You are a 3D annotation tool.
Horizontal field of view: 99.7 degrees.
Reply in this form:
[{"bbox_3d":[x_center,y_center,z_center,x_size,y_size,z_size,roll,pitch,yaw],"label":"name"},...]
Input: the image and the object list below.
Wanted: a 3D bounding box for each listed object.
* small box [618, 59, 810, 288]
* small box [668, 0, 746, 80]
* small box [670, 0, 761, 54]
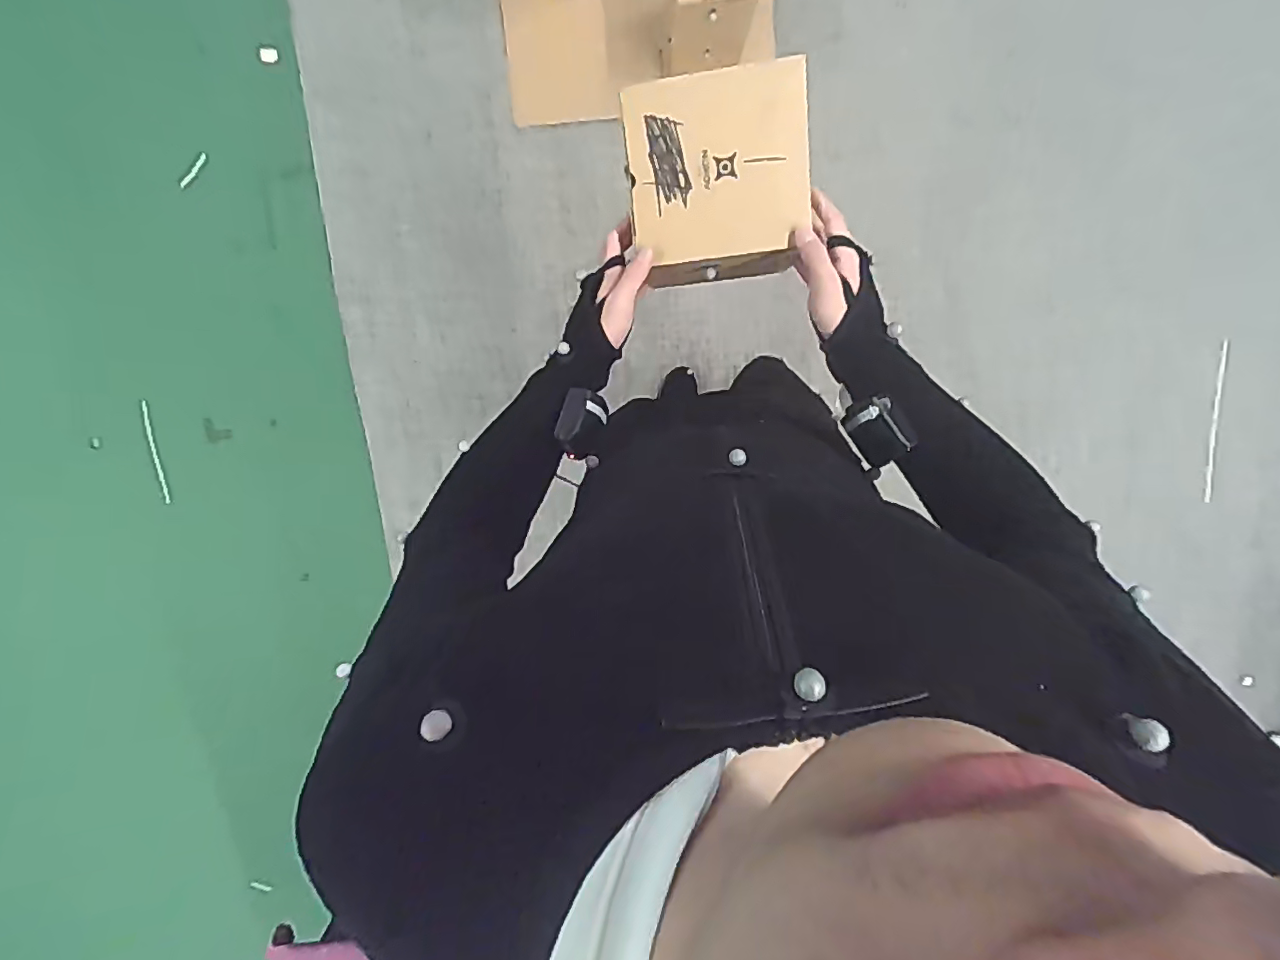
[{"bbox_3d":[0.081,-0.316,0.598,0.179,0.176,0.168,-5,102,7],"label":"small box"},{"bbox_3d":[0.158,-1.099,1.321,0.179,0.176,0.168,-3,102,2],"label":"small box"},{"bbox_3d":[0.157,-1.060,1.164,0.179,0.176,0.168,-3,102,3],"label":"small box"}]
